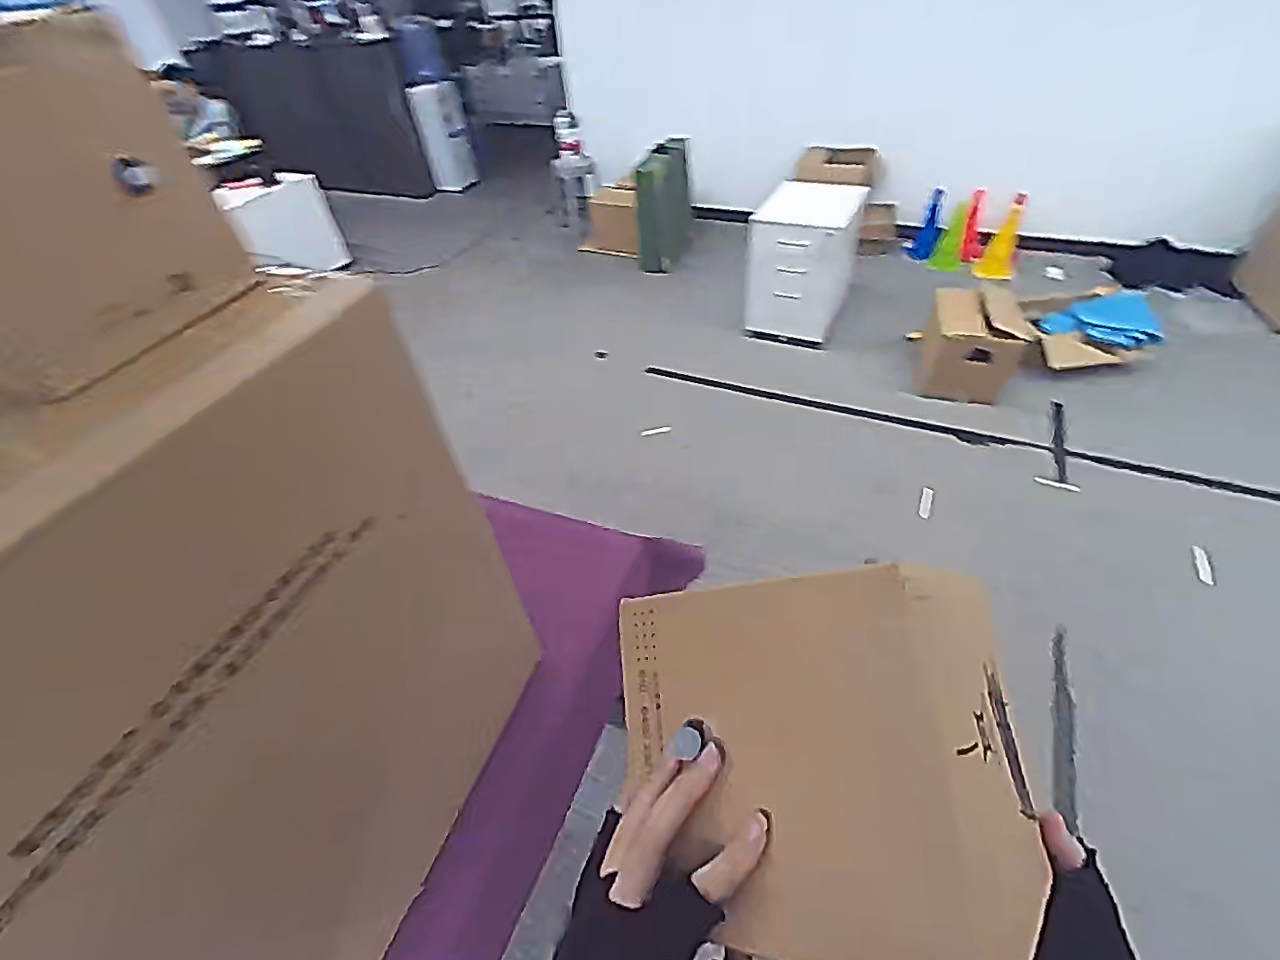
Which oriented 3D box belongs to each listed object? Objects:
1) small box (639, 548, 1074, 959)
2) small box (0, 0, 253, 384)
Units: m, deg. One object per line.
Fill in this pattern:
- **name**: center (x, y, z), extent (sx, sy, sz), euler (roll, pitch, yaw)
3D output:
- **small box**: center (0.119, 0.141, 0.313), extent (0.176, 0.179, 0.168), euler (-19, 67, 39)
- **small box**: center (-0.406, -0.179, 0.341), extent (0.179, 0.176, 0.168), euler (11, 47, 17)
